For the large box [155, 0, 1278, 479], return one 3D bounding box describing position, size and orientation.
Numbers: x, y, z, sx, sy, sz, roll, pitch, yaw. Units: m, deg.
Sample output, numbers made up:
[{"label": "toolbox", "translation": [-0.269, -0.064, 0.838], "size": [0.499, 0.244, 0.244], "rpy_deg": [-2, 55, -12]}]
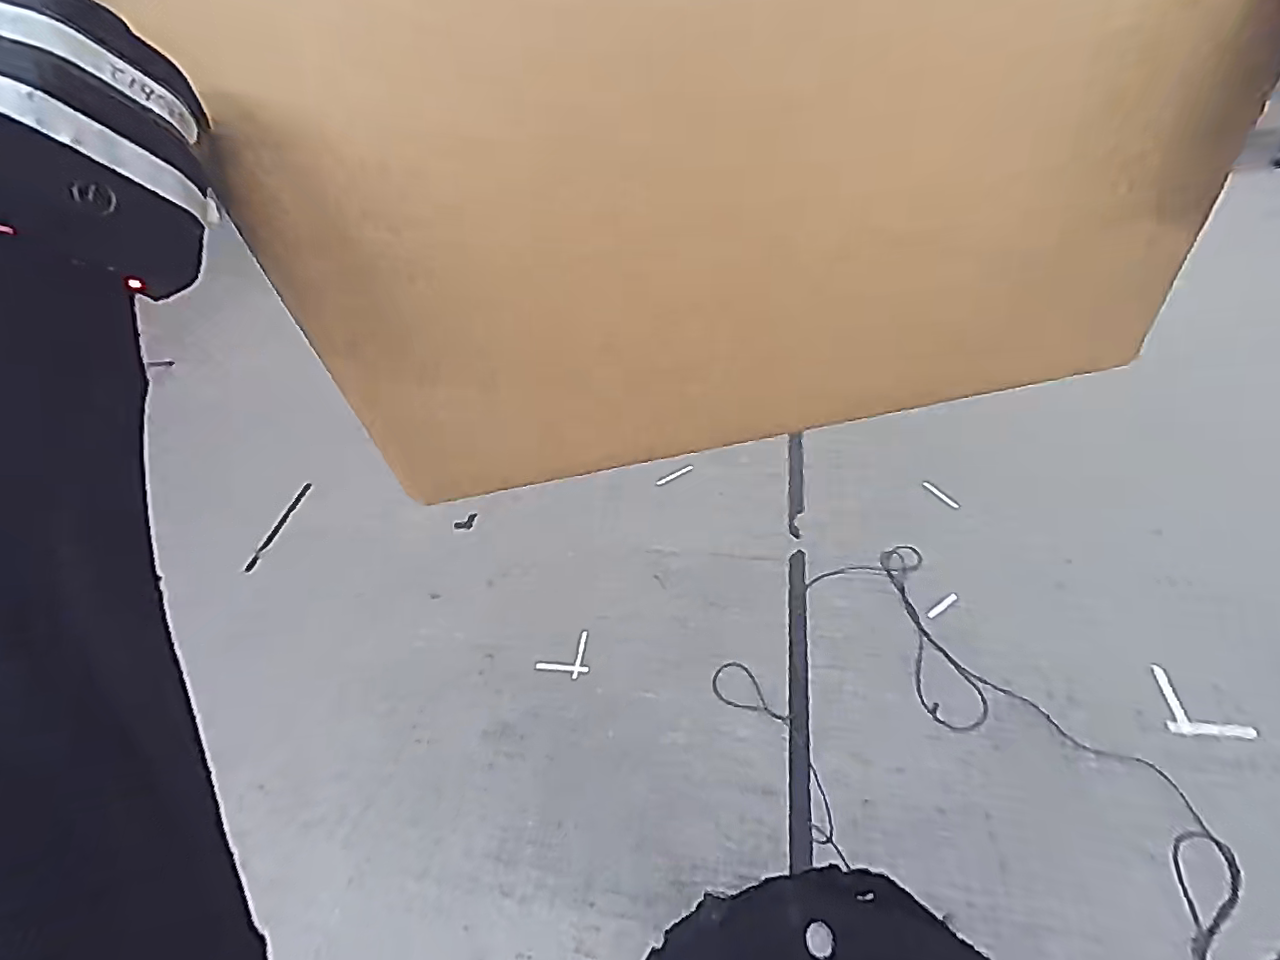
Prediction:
[{"label": "large box", "translation": [0.031, -0.239, 0.316], "size": [0.408, 0.320, 0.320], "rpy_deg": [-10, 42, 1]}]
